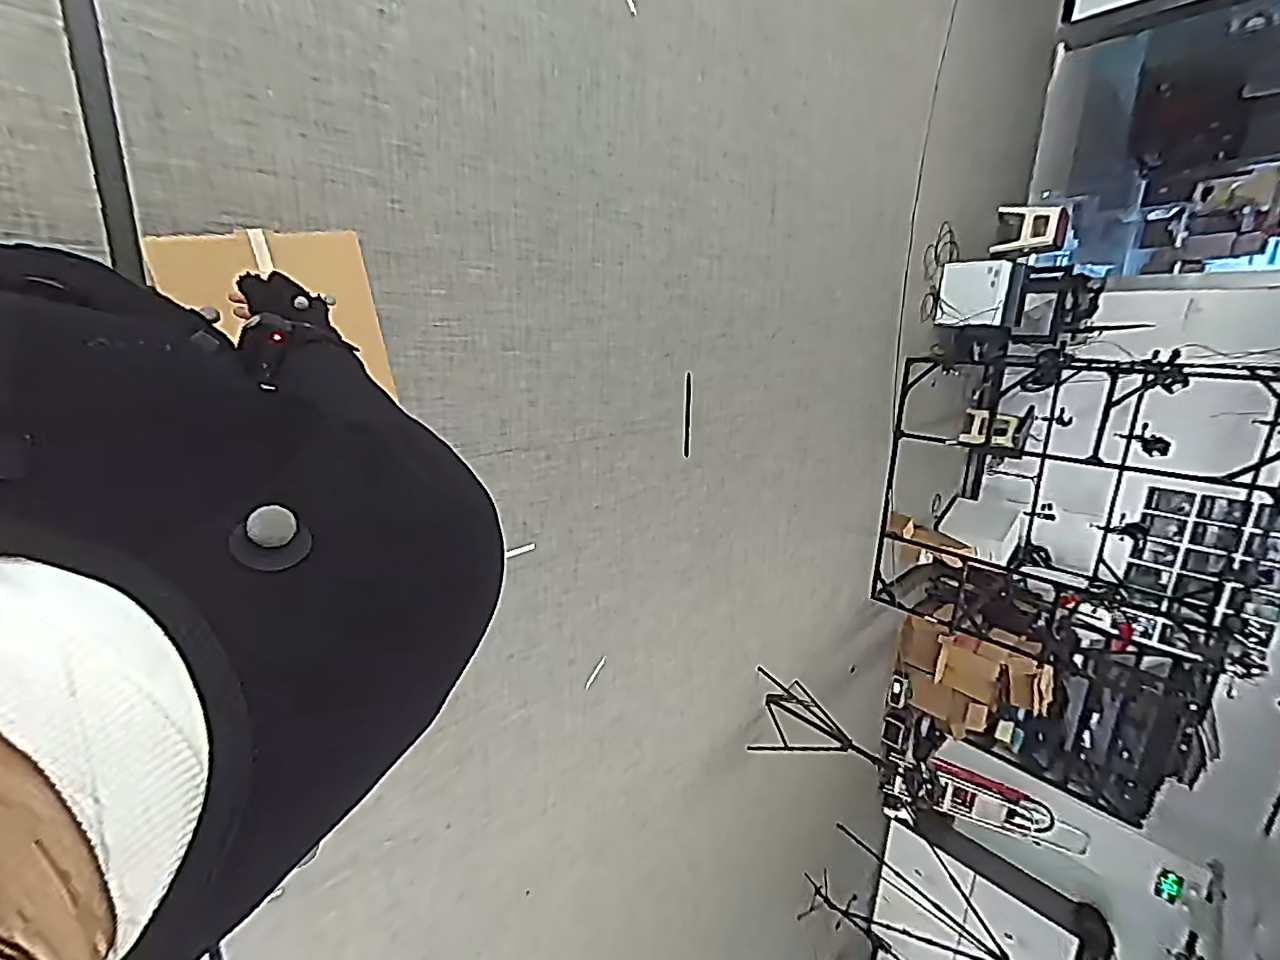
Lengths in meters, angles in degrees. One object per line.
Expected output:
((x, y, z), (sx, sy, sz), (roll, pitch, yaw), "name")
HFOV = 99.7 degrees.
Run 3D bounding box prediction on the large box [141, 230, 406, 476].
((-0.721, -0.269, 1.095), (0.320, 0.320, 0.408), (-19, 116, -32), "large box")
